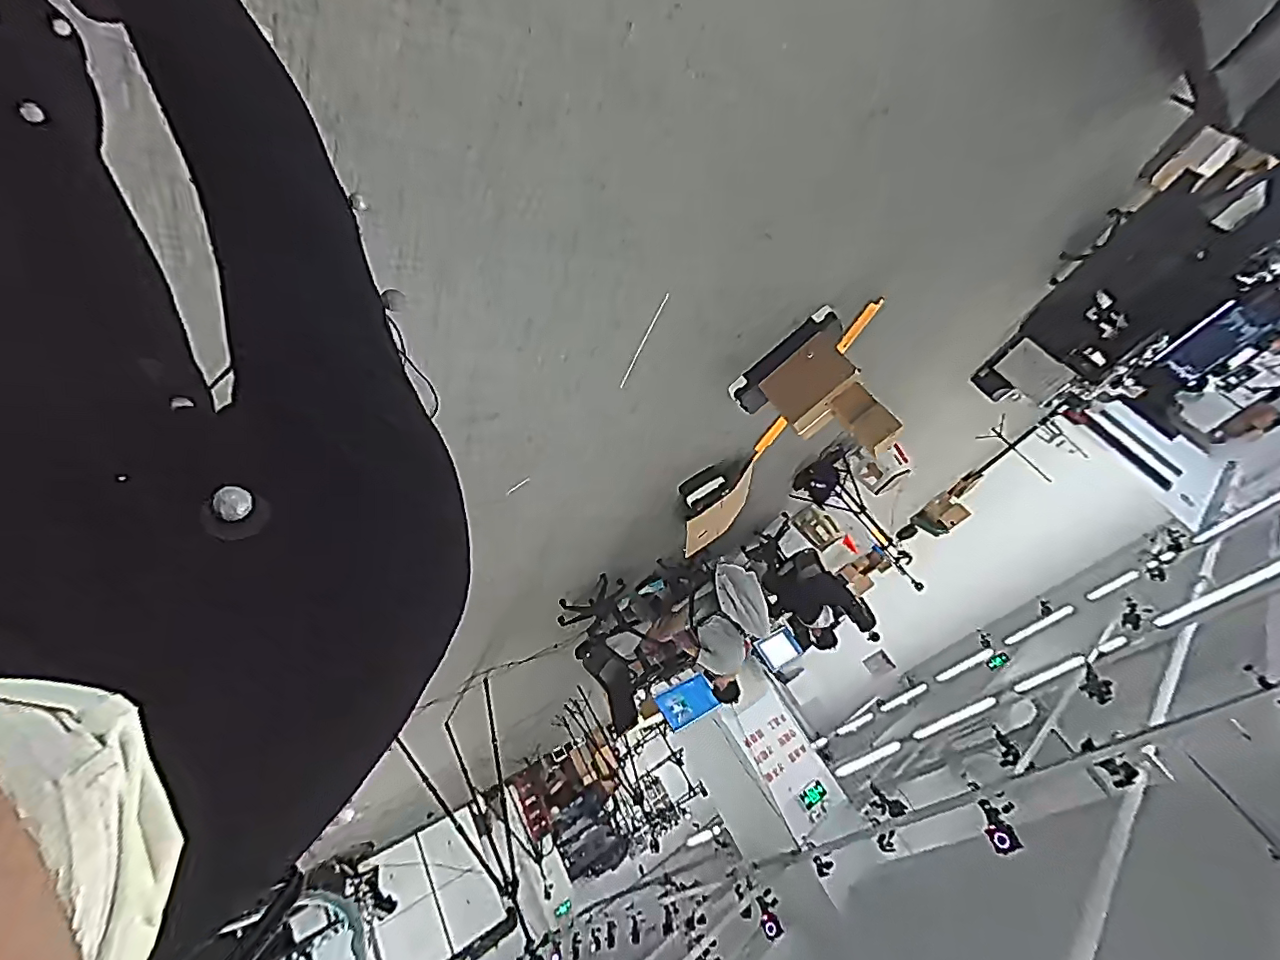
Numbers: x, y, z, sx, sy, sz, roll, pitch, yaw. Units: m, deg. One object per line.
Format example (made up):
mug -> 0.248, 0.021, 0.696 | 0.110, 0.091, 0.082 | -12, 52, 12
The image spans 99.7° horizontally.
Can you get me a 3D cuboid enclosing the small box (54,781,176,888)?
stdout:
small box -> -1.344, 0.901, 1.385 | 0.168, 0.176, 0.179 | -22, 153, -23
